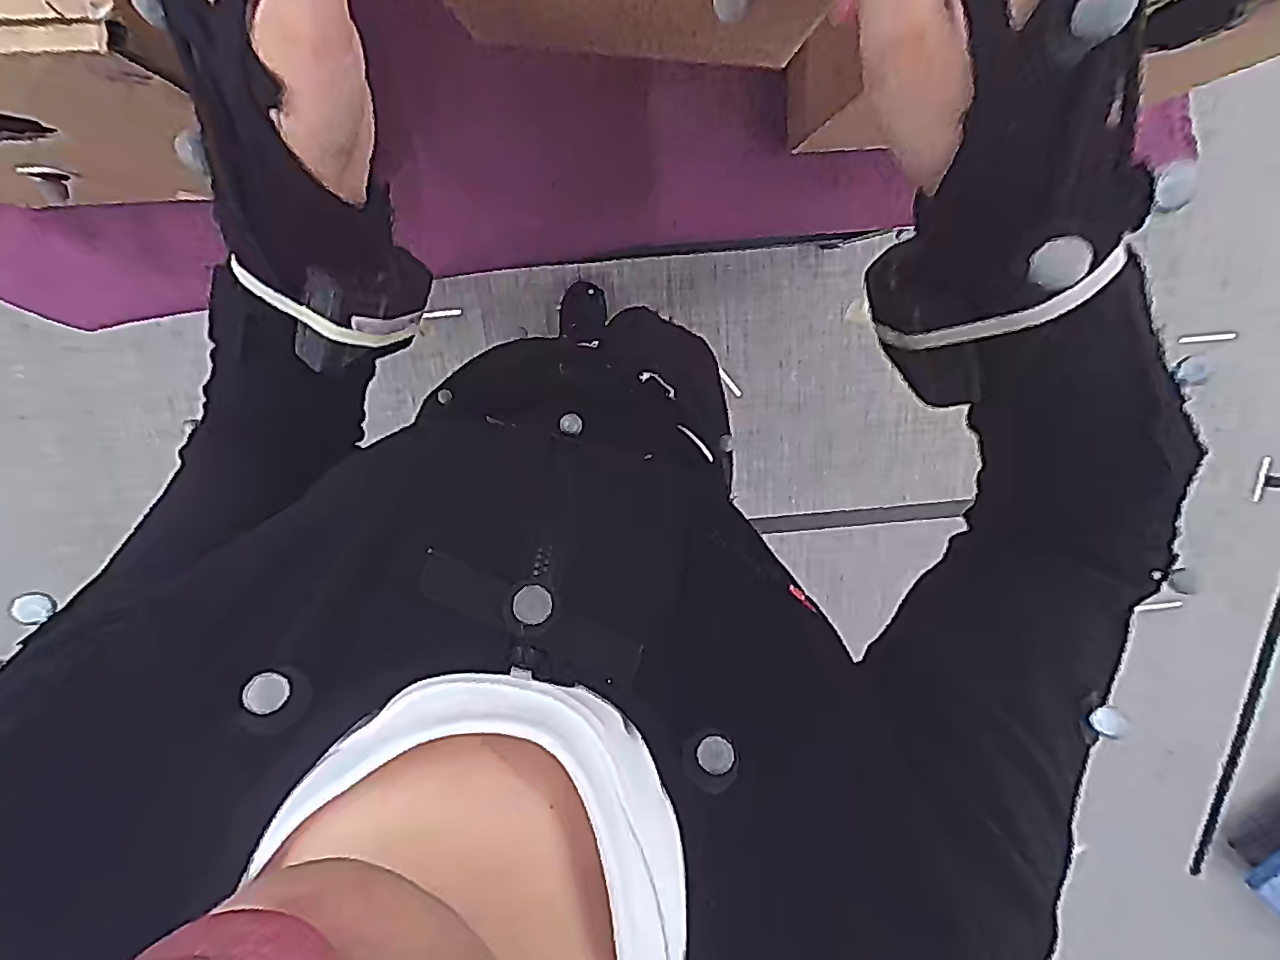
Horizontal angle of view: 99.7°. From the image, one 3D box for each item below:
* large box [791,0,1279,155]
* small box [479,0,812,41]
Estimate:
[{"bbox_3d":[0.290,-0.486,0.343,0.320,0.320,0.408,-7,106,-3],"label":"large box"},{"bbox_3d":[0.005,-0.286,0.191,0.179,0.176,0.168,4,114,0],"label":"small box"}]
